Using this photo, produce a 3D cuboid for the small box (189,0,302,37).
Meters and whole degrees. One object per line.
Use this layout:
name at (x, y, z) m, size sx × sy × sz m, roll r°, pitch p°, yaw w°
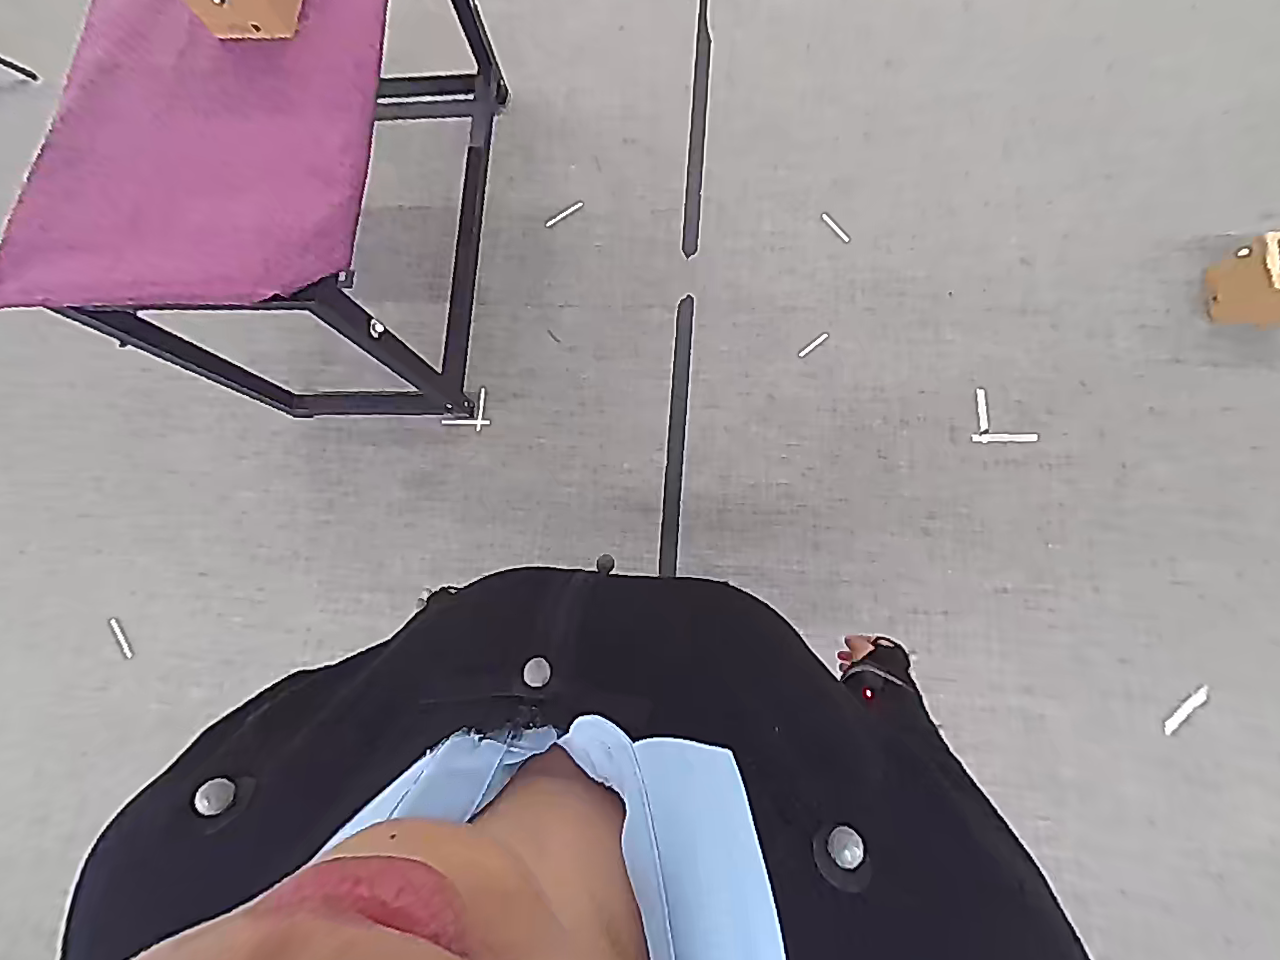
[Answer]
small box at (-0.745, -0.956, 0.988) m, size 0.168 × 0.176 × 0.179 m, roll 5°, pitch 79°, yaw 5°
